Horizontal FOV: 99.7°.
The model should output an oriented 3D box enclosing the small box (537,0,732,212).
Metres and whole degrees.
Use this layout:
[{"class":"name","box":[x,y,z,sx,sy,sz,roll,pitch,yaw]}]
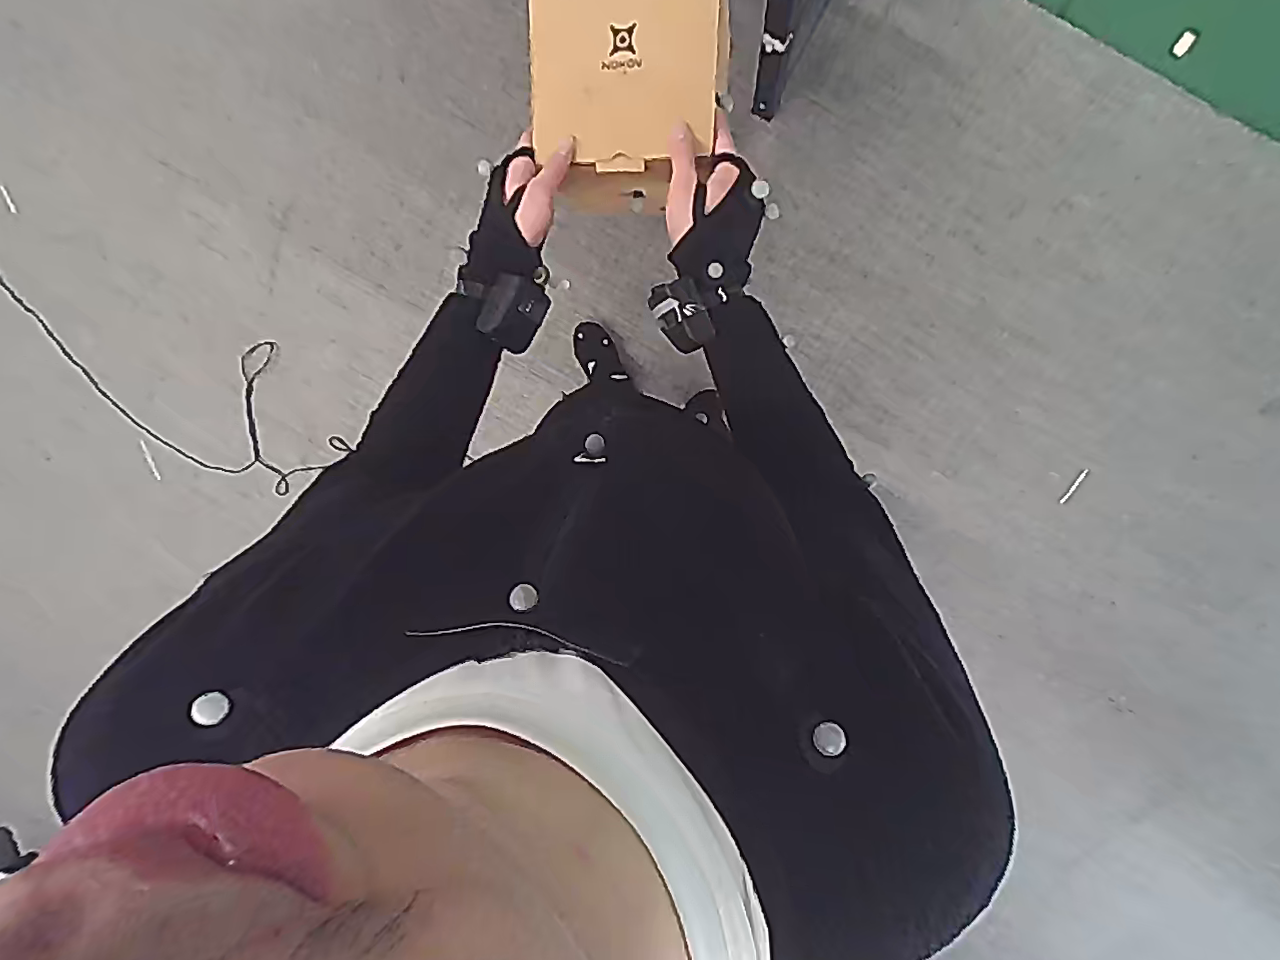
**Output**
[{"class":"small box","box":[0.006,-0.384,0.546,0.168,0.176,0.179,1,101,11]}]
